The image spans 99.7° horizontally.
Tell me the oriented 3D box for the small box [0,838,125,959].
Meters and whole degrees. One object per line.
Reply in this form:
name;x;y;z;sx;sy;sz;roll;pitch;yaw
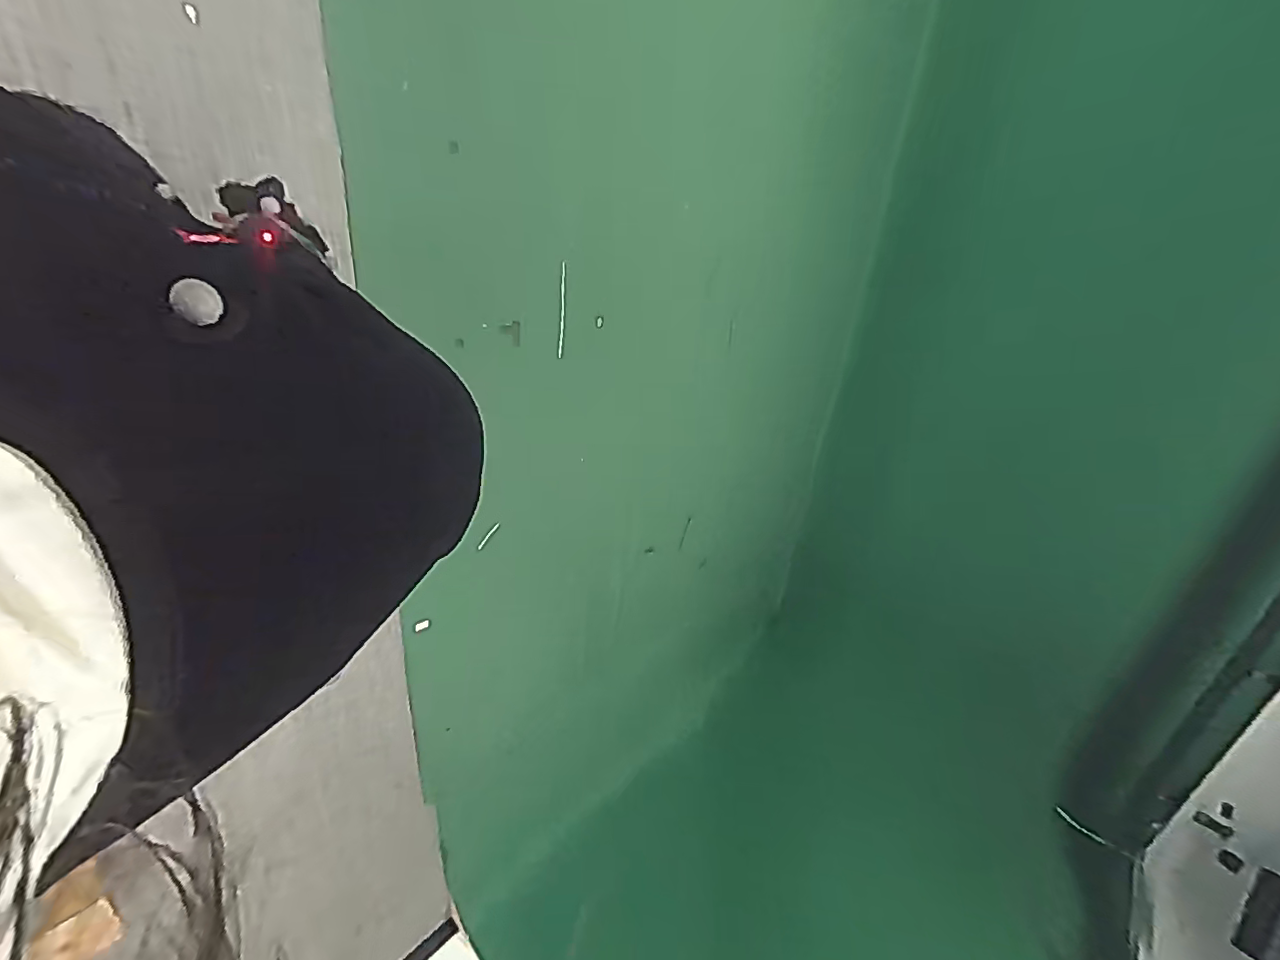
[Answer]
small box;-1.384;1.016;1.289;0.179;0.176;0.168;-24;130;-44
